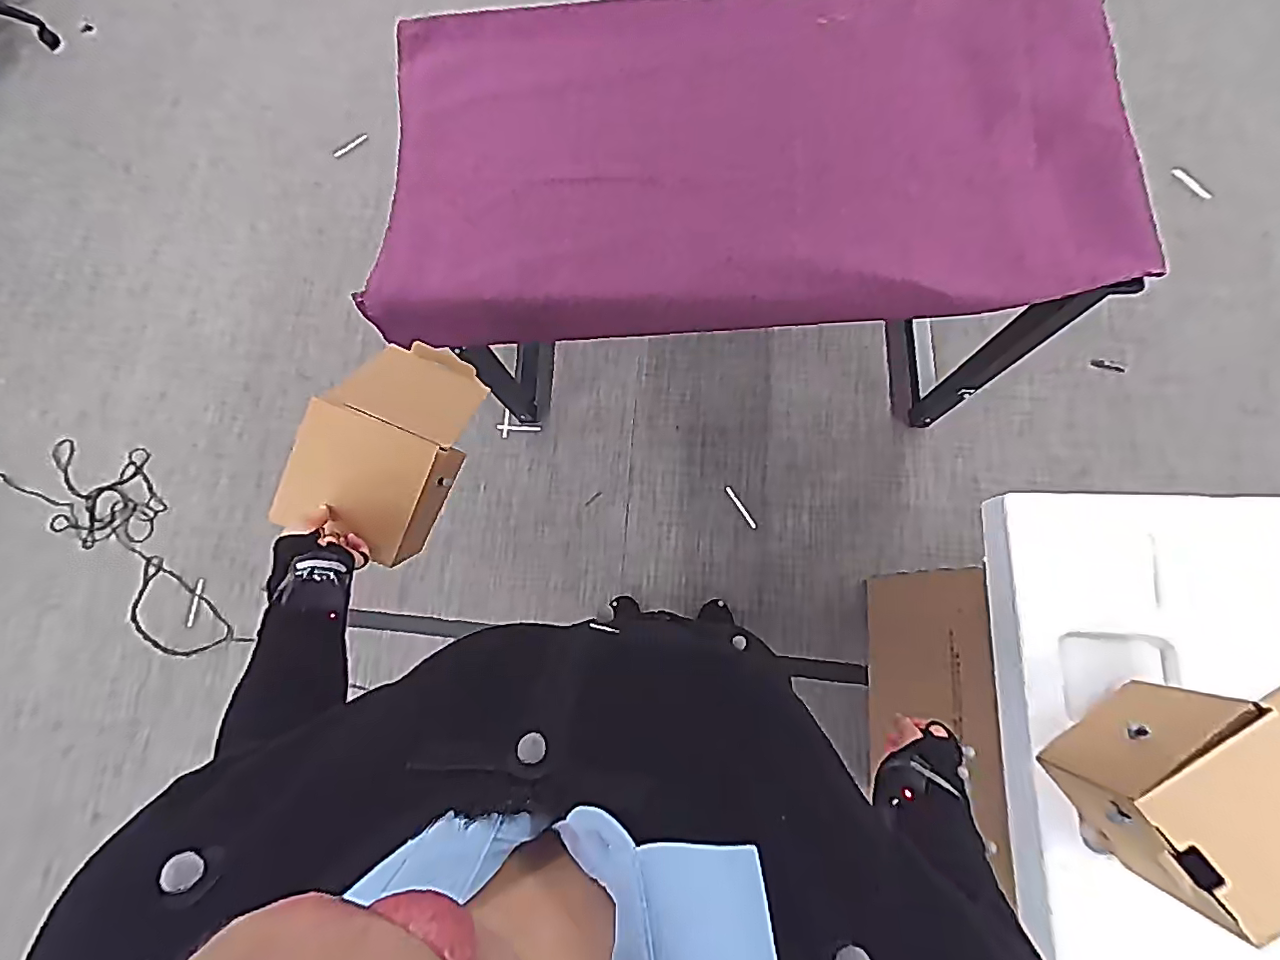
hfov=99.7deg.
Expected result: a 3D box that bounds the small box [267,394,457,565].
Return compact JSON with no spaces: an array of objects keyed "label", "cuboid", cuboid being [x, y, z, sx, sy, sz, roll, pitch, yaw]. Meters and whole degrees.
[{"label":"small box","cuboid":[-0.377,-0.001,0.775,0.168,0.176,0.179,24,87,-9]}]
